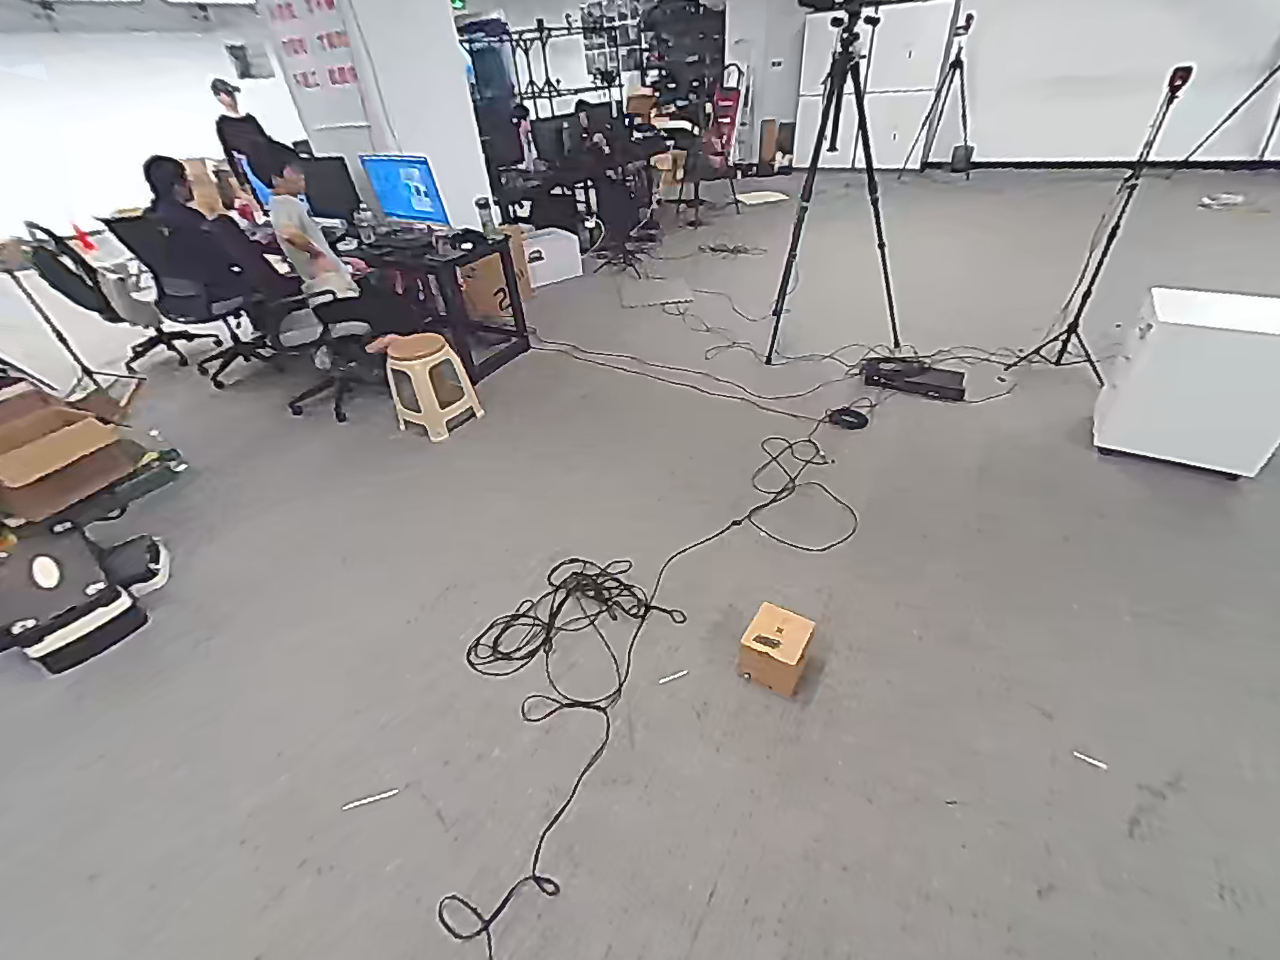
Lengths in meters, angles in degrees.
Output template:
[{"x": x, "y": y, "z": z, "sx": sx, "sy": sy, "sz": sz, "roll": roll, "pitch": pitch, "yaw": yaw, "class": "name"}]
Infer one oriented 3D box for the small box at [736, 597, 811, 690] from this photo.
[{"x": 0.399, "y": 0.496, "z": 1.630, "sx": 0.168, "sy": 0.176, "sz": 0.179, "roll": 19, "pitch": 44, "yaw": 28, "class": "small box"}]
